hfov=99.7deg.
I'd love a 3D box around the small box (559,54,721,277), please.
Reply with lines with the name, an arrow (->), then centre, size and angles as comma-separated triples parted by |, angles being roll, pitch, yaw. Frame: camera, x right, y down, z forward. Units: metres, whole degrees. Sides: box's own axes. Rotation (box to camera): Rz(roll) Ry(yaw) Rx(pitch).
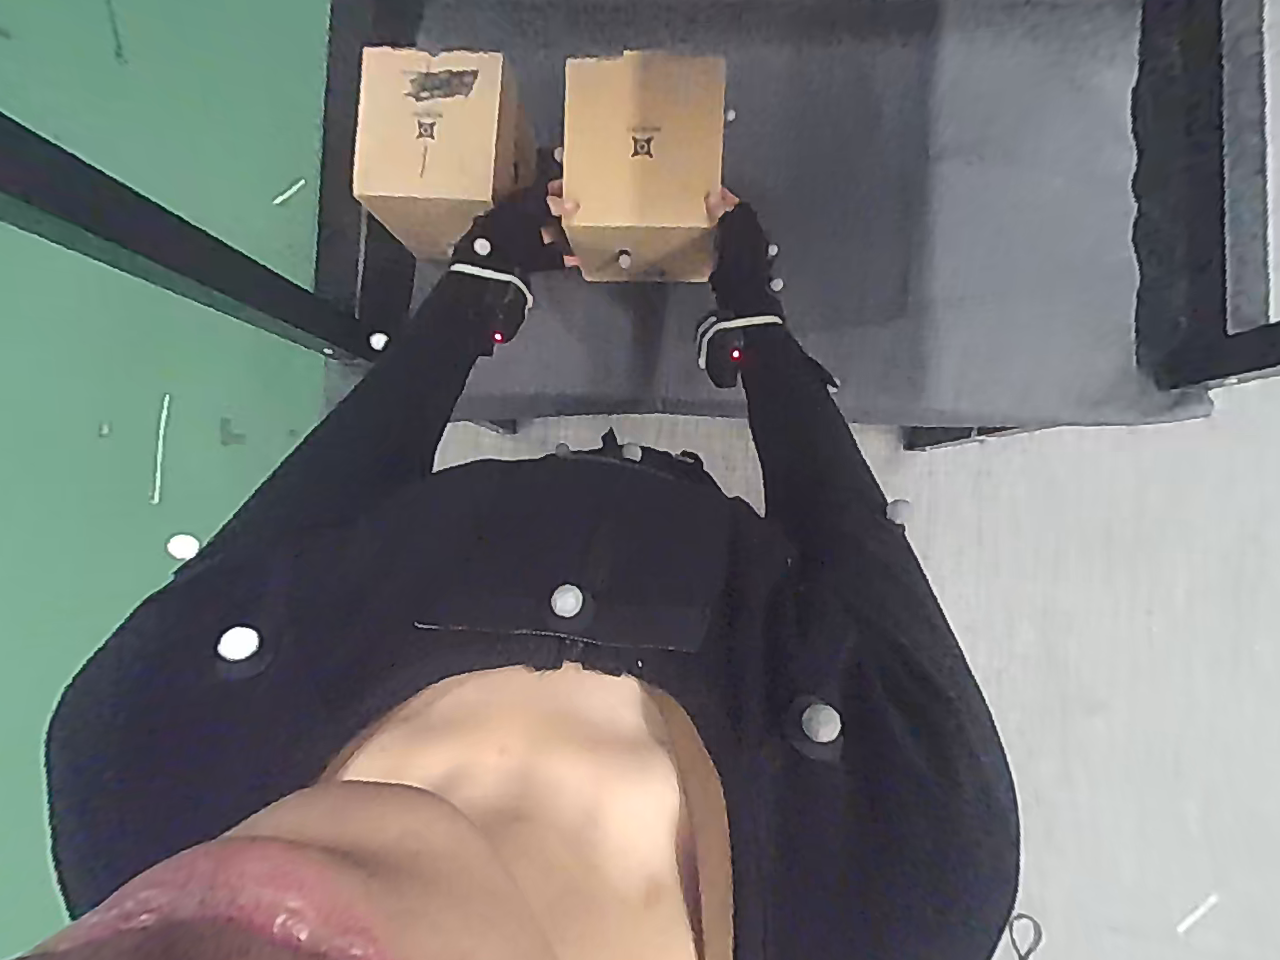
small box -> 0.004, -0.352, 0.638 | 0.168, 0.176, 0.179 | 1, 91, 2

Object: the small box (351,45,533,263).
small box -> -0.240, -0.406, 0.698 | 0.168, 0.176, 0.179 | 4, 89, 2
